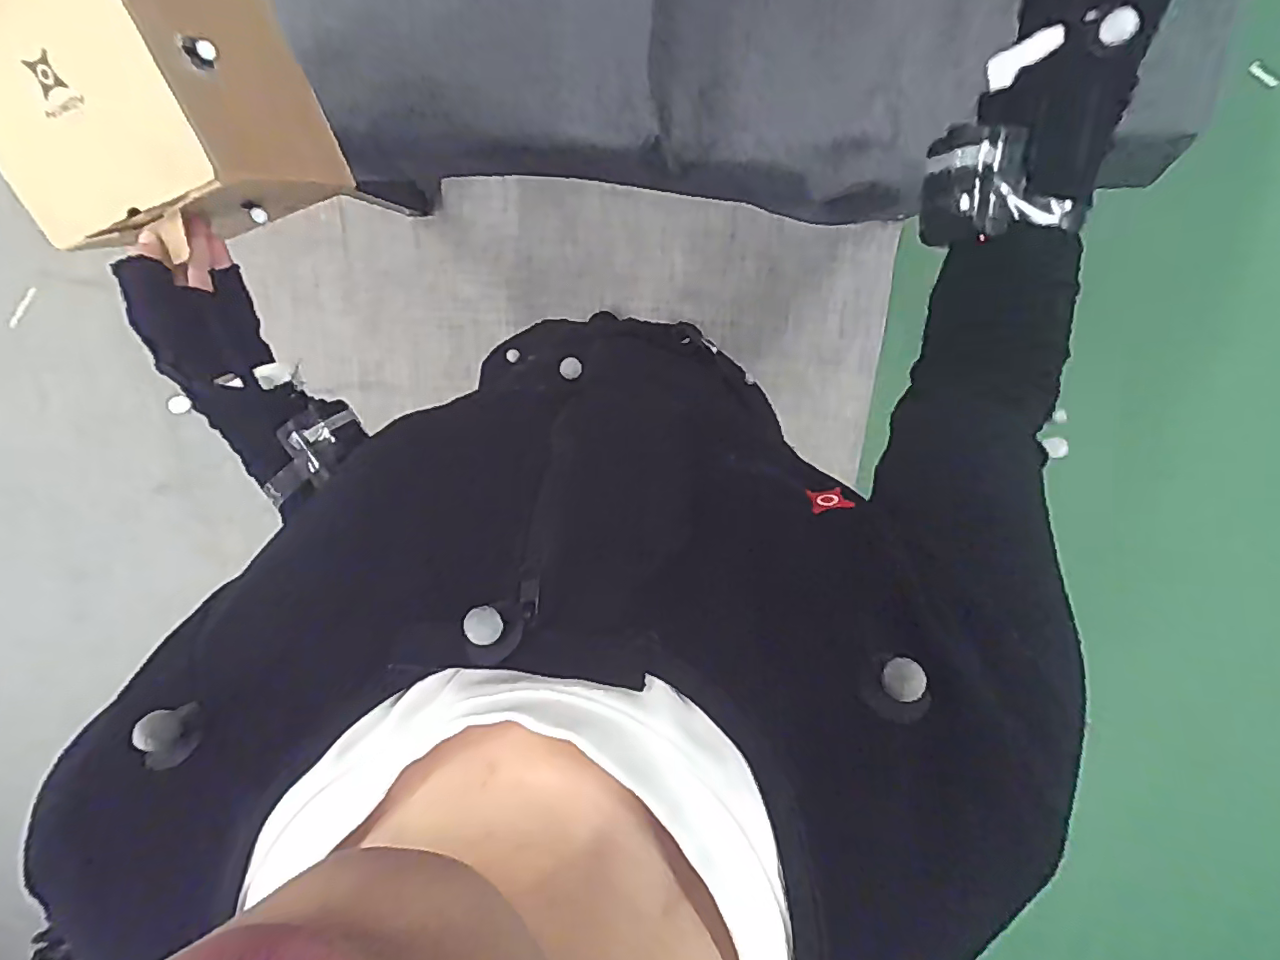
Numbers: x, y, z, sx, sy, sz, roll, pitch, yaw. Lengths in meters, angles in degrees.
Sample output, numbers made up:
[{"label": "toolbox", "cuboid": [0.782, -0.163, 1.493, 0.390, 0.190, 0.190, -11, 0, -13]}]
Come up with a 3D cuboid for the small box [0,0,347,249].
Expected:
[{"label": "small box", "cuboid": [-0.378, -0.302, 0.425, 0.168, 0.176, 0.179, -13, 114, 13]}]
